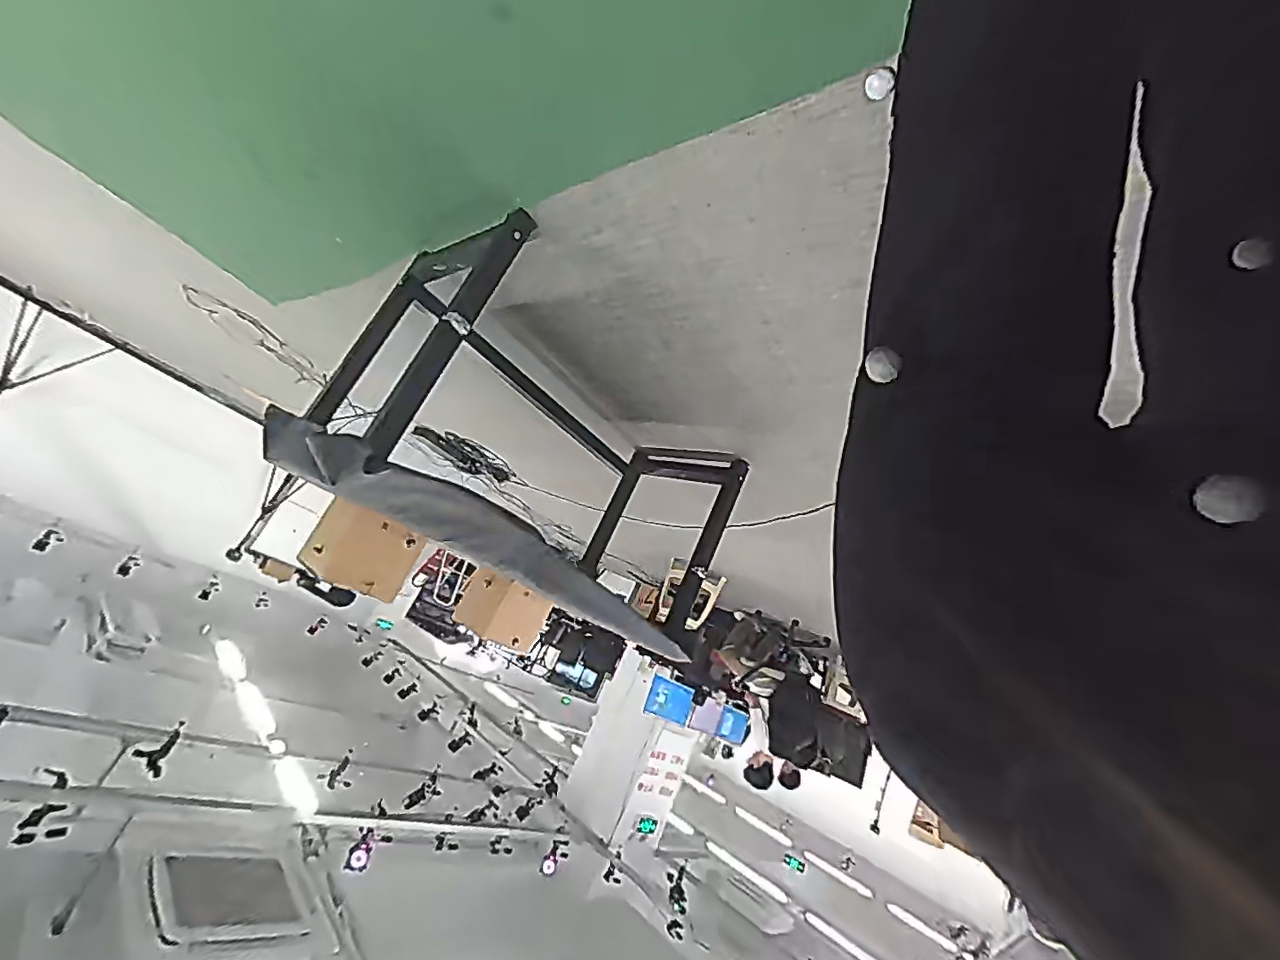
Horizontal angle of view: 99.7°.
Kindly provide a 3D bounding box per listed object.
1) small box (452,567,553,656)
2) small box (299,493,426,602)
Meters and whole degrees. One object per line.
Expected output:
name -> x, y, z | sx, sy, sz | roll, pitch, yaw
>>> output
small box -> -0.373, 0.355, 1.486 | 0.179, 0.176, 0.168 | 11, 157, 45
small box -> -0.605, 0.145, 1.196 | 0.179, 0.176, 0.168 | 12, 159, 44
